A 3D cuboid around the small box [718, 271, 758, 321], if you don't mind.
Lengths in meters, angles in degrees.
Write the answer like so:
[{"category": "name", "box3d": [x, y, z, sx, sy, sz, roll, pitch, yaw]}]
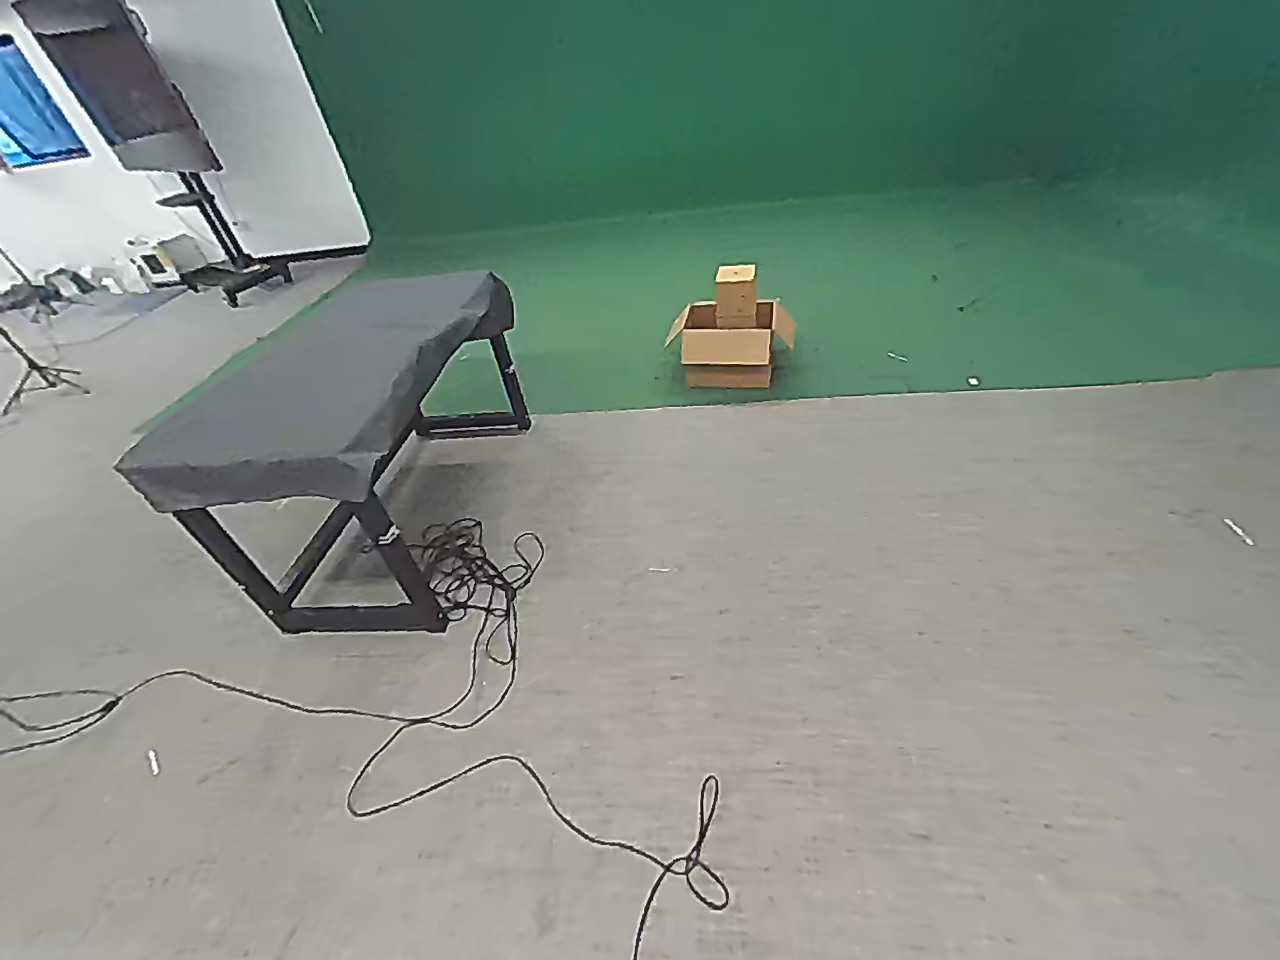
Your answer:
[{"category": "small box", "box3d": [0.447, -0.830, 2.452, 0.168, 0.176, 0.179, 2, 40, 13]}]
